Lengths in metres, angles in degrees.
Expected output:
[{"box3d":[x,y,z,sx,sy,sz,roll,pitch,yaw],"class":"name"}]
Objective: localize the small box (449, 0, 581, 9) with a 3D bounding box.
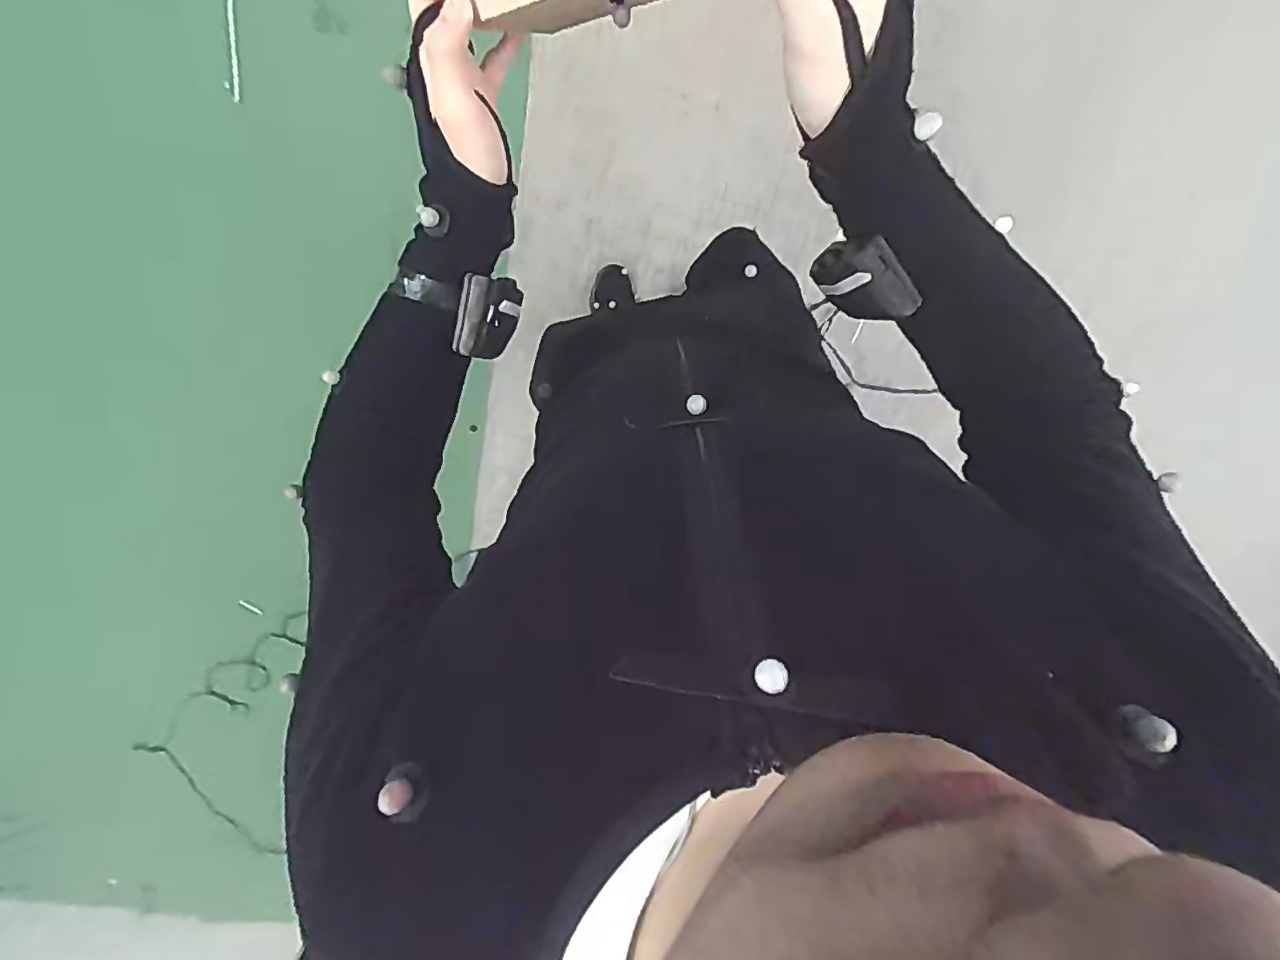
[{"box3d":[-0.028,-0.376,0.286,0.179,0.176,0.168,-1,128,14],"class":"small box"}]
